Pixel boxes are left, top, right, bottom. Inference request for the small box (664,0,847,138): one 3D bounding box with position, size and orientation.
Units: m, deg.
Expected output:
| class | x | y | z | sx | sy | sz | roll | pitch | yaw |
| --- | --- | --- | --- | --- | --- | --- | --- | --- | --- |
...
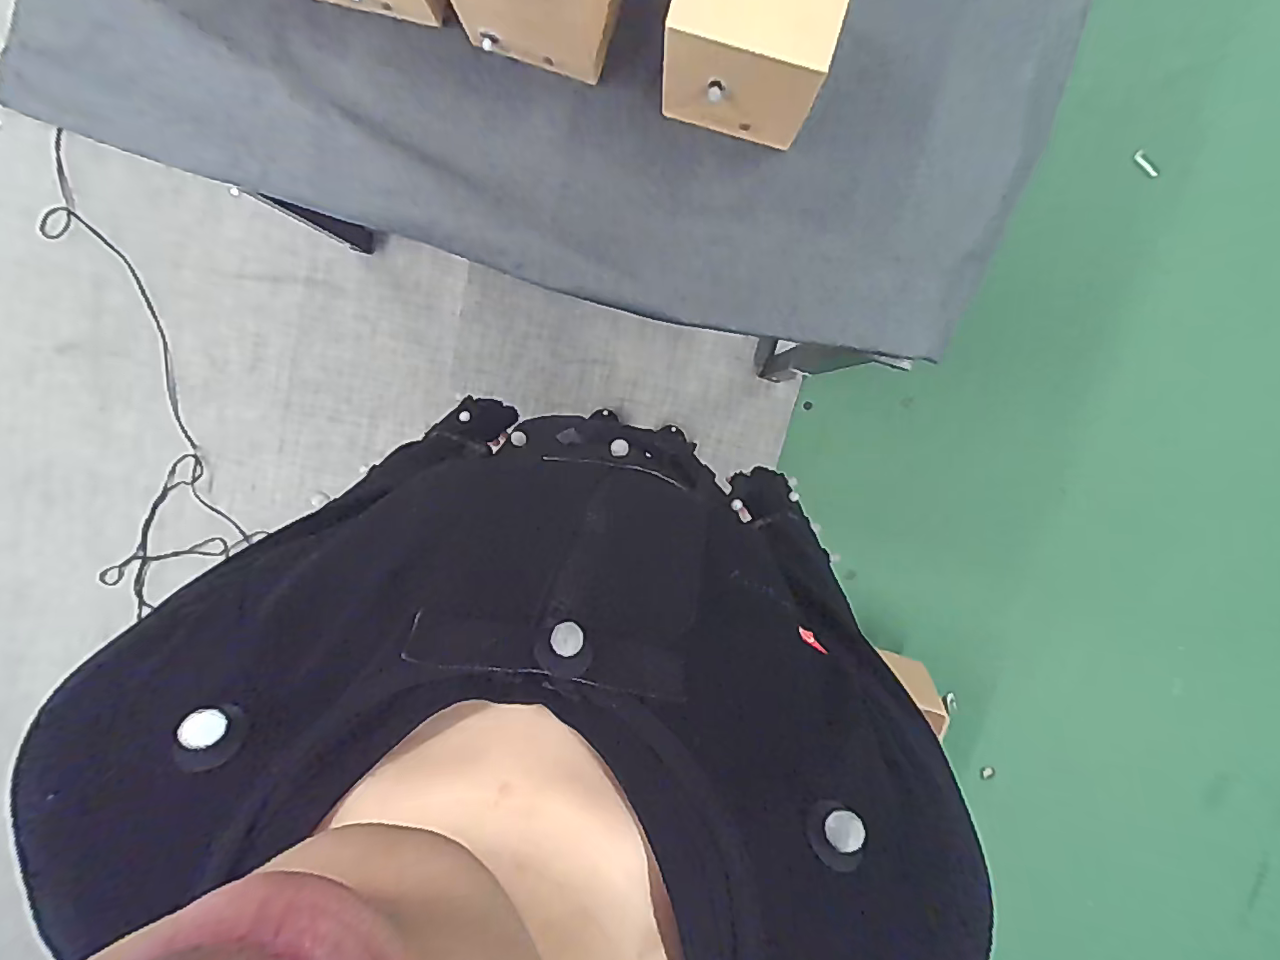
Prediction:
| class | x | y | z | sx | sy | sz | roll | pitch | yaw |
| --- | --- | --- | --- | --- | --- | --- | --- | --- | --- |
| small box | 0.128 | -0.509 | 0.581 | 0.168 | 0.176 | 0.179 | 15 | 98 | -1 |
